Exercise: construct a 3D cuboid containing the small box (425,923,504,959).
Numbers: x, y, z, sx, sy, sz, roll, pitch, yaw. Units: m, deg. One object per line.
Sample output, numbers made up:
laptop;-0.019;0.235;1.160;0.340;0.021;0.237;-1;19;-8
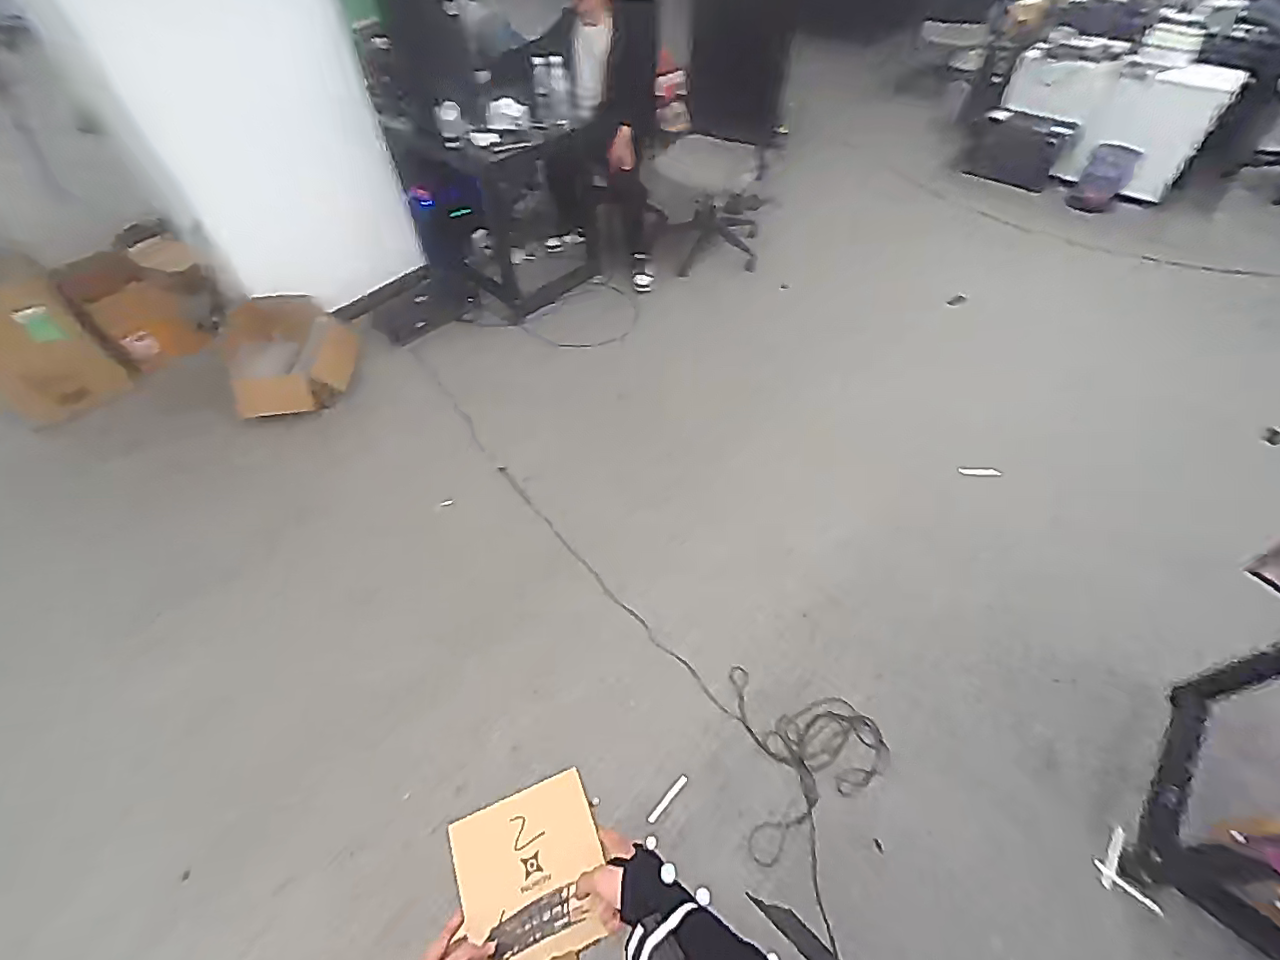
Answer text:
small box;-0.369;1.062;1.111;0.168;0.176;0.179;-37;60;-24
